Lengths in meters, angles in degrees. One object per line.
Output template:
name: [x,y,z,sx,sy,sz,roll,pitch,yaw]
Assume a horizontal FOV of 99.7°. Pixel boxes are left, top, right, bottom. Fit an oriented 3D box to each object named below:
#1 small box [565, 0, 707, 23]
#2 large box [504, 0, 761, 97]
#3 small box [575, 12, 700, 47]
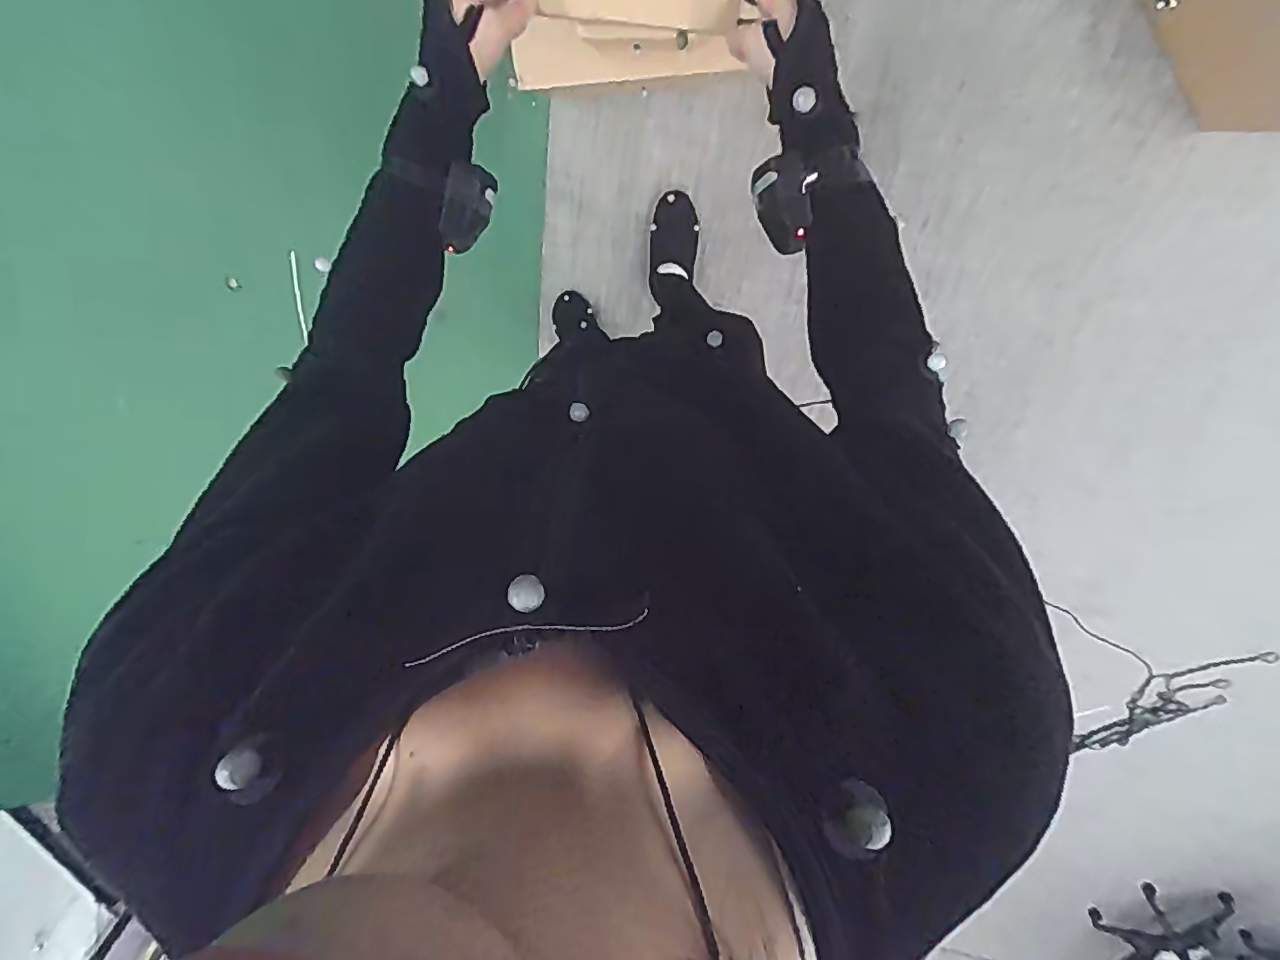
small box: [-0.004,-0.625,0.597,0.179,0.176,0.168,4,124,2]
large box: [-0.004,-0.869,0.927,0.408,0.320,0.320,0,122,7]
small box: [0.004,-0.709,0.736,0.168,0.176,0.179,3,124,2]
